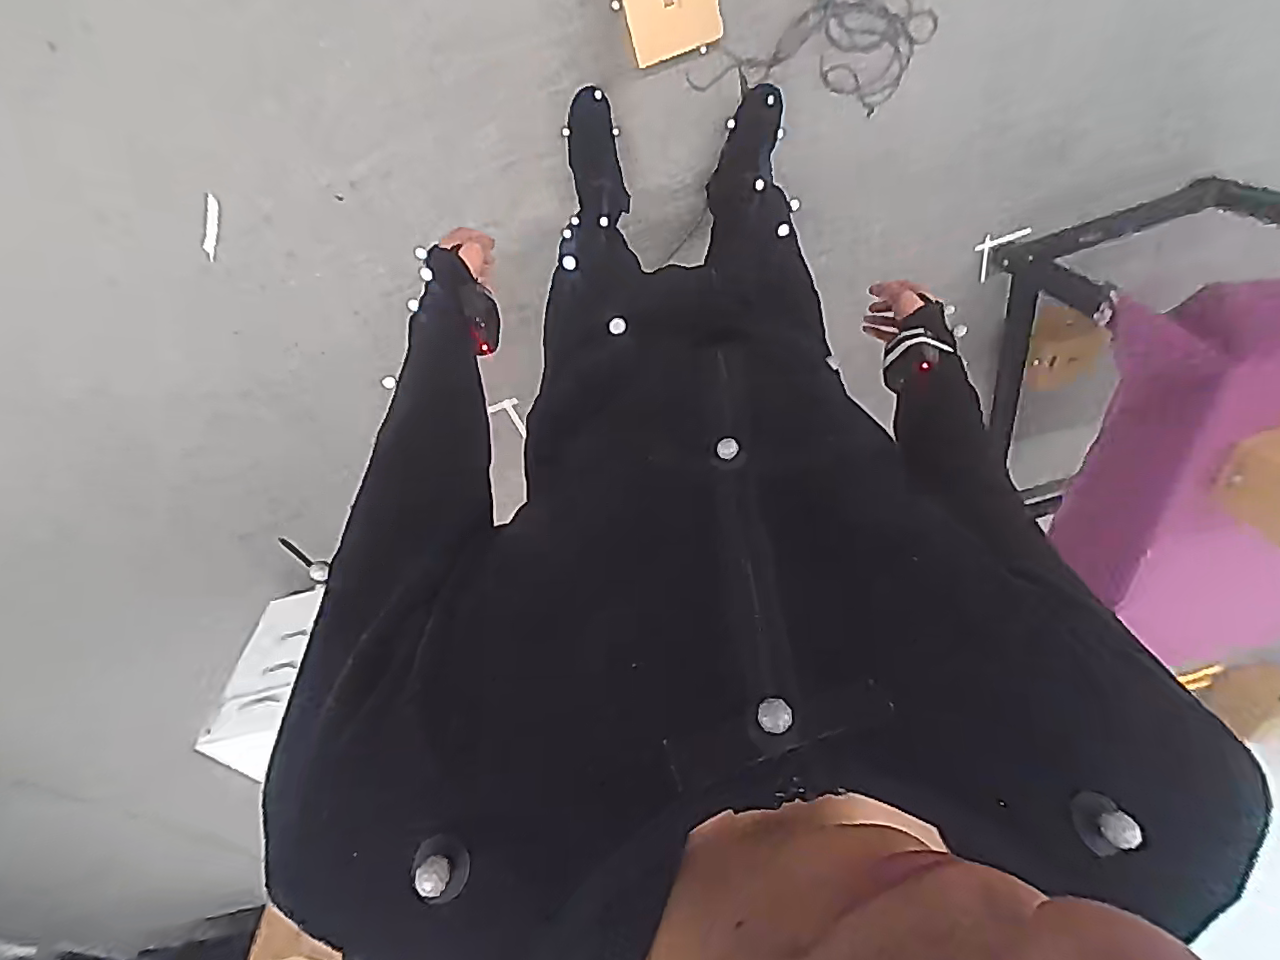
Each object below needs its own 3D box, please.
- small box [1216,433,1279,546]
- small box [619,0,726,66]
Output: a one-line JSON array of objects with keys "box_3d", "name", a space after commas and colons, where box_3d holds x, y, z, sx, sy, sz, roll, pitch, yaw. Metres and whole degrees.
[{"box_3d": [1.304, 0.009, 1.043, 0.179, 0.176, 0.168, -16, 130, 7], "name": "small box"}, {"box_3d": [0.052, -0.932, 1.046, 0.179, 0.176, 0.168, -18, 130, 7], "name": "small box"}]
